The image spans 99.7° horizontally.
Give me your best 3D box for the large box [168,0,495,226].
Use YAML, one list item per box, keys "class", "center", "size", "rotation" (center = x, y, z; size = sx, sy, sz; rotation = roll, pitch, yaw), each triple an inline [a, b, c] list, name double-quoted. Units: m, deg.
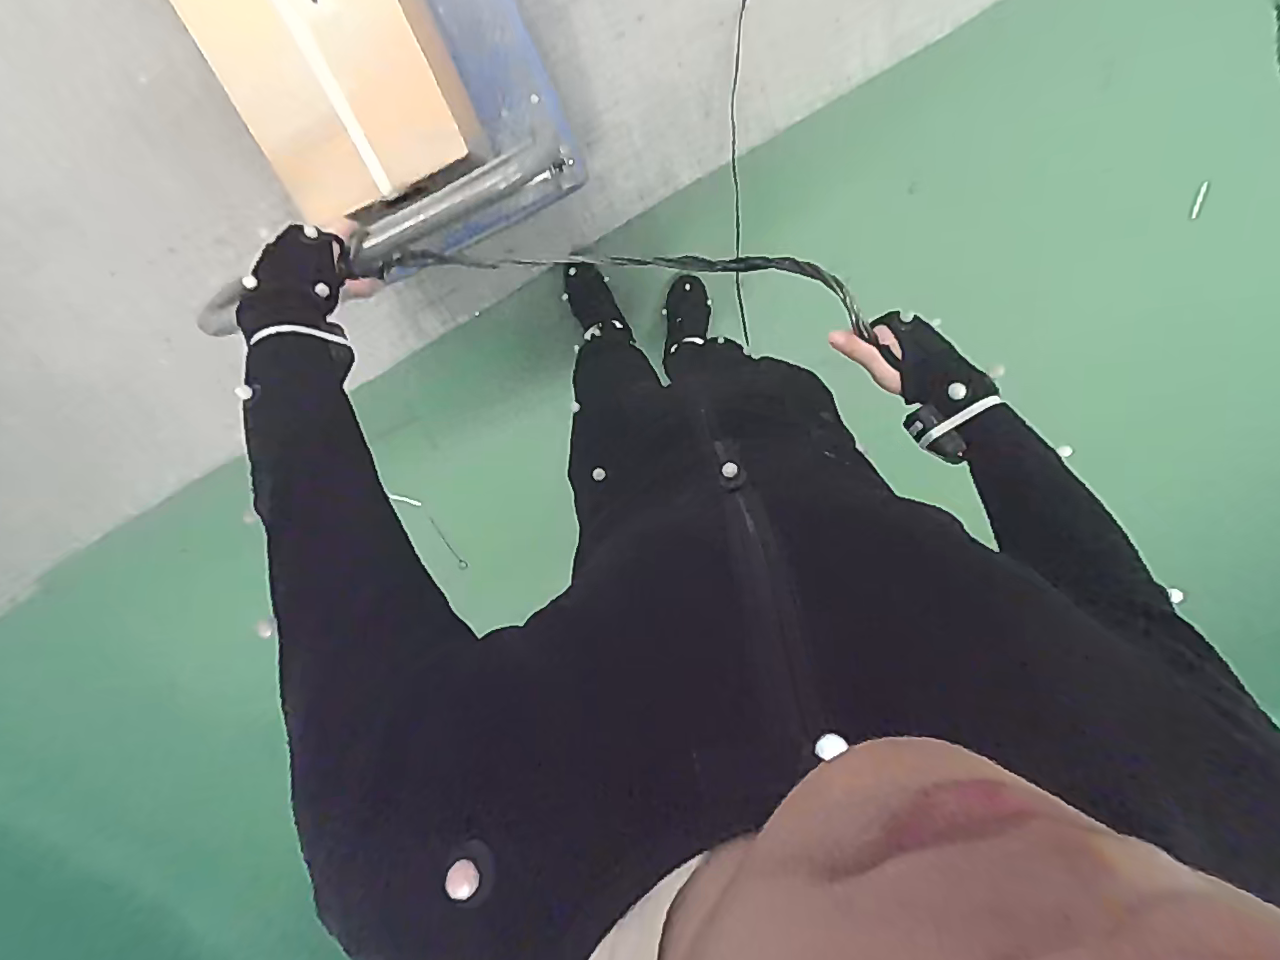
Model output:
- class: "large box"
  center: [-0.516, -0.721, 0.969]
  size: [0.320, 0.320, 0.408]
  rotation: [-22, 114, 6]
